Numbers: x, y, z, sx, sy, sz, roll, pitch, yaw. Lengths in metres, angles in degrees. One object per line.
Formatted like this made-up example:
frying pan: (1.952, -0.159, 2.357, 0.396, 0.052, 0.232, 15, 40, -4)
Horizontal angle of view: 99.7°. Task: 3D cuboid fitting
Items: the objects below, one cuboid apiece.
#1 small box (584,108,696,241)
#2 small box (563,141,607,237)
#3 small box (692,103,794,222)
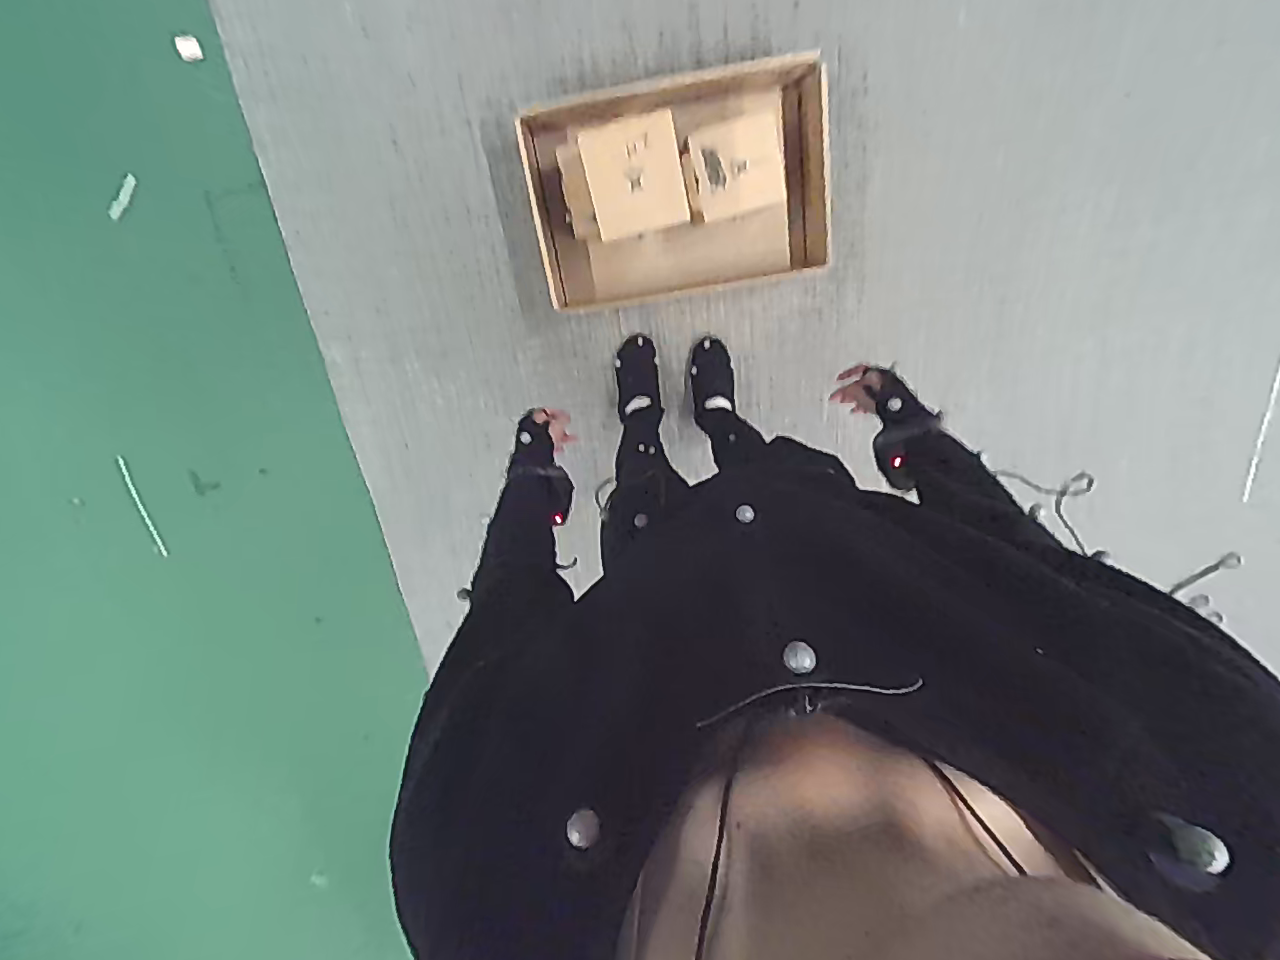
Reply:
small box: (0.001, -0.558, 1.010, 0.168, 0.176, 0.179, -14, 112, 3)
small box: (-0.052, -0.627, 1.157, 0.179, 0.176, 0.168, -12, 113, 3)
small box: (0.210, -0.659, 1.144, 0.179, 0.176, 0.168, -14, 111, 6)
